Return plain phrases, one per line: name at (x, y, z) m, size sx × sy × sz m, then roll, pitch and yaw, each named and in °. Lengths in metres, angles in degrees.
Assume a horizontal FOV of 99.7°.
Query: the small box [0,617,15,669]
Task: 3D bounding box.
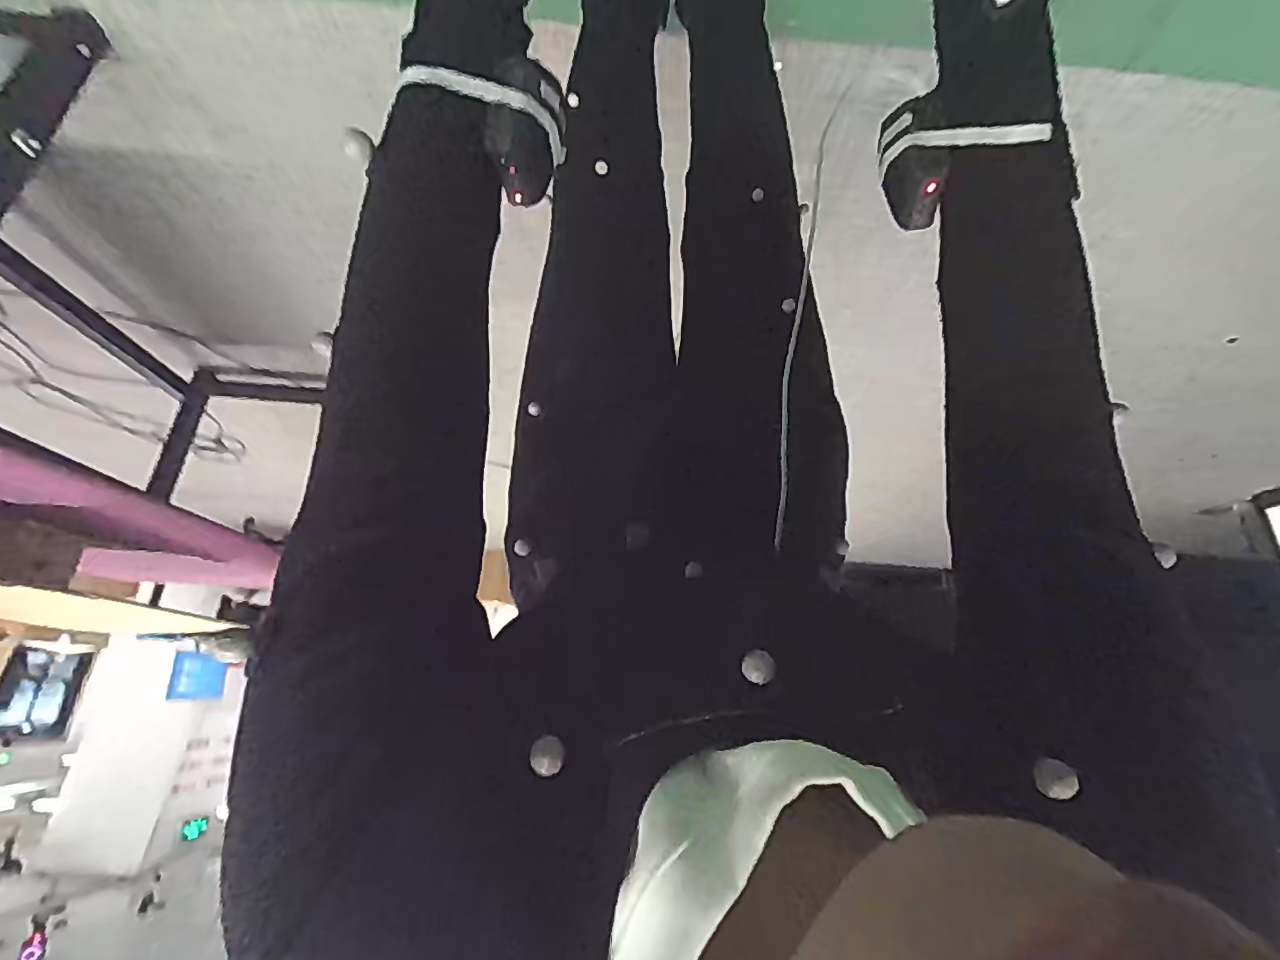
small box at (-1.310, 0.317, 0.973) m, size 0.179 × 0.176 × 0.168 m, roll 8°, pitch 158°, yaw -3°
